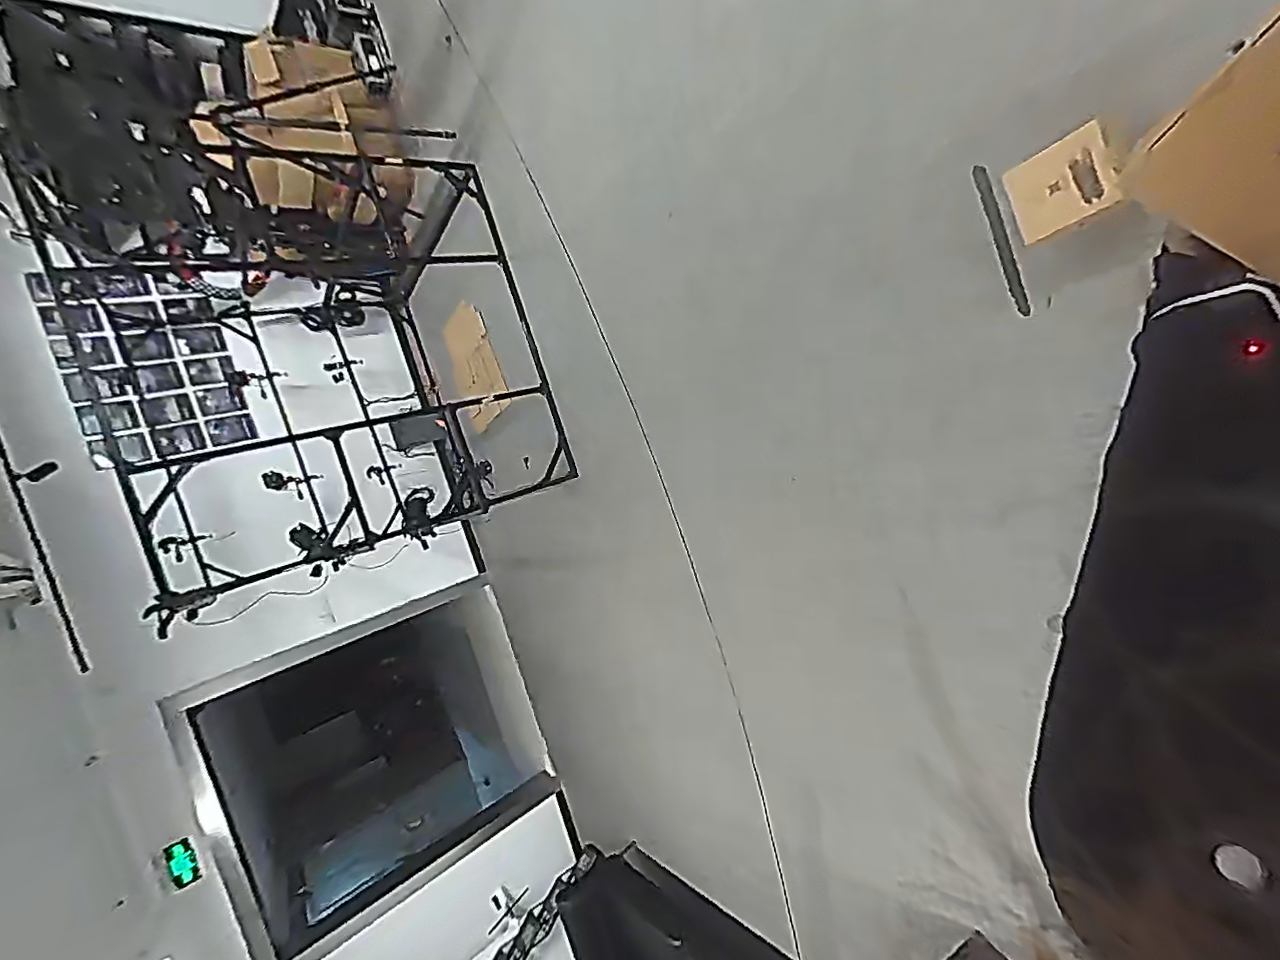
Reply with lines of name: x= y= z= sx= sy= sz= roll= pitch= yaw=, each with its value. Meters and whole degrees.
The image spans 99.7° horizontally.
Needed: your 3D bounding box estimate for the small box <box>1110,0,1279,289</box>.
small box: x=0.544 y=-0.288 z=0.432 sx=0.179 sy=0.176 sz=0.168 roll=43 pitch=146 yaw=13
